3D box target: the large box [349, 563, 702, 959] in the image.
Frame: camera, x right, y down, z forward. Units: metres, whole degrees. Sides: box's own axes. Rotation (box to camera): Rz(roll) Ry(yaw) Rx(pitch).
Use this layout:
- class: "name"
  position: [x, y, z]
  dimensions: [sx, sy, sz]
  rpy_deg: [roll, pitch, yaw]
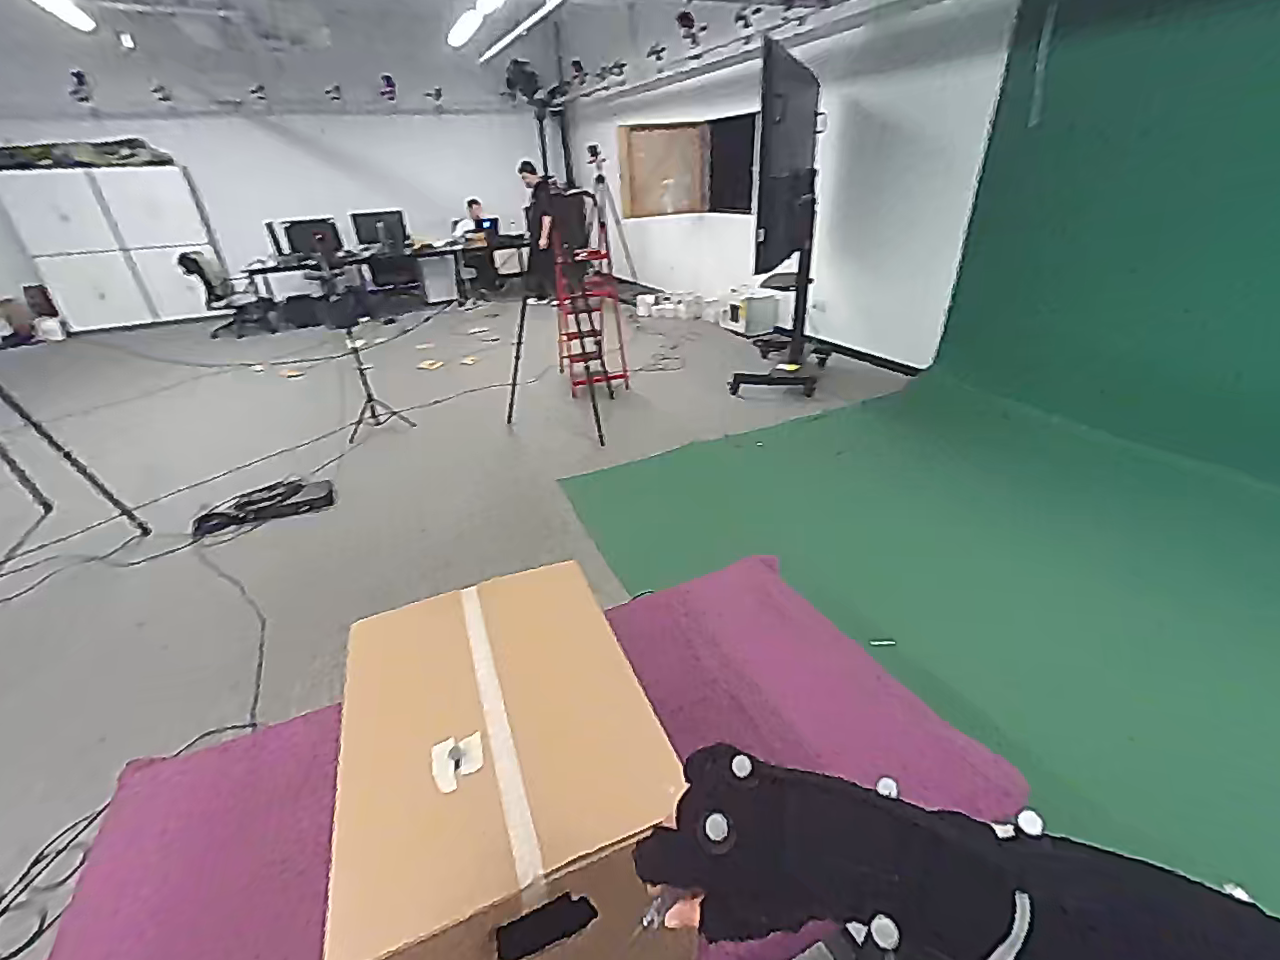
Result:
- class: "large box"
  position: [-0.155, 0.373, 0.689]
  dimensions: [0.320, 0.320, 0.408]
  rpy_deg: [-13, 32, -18]
